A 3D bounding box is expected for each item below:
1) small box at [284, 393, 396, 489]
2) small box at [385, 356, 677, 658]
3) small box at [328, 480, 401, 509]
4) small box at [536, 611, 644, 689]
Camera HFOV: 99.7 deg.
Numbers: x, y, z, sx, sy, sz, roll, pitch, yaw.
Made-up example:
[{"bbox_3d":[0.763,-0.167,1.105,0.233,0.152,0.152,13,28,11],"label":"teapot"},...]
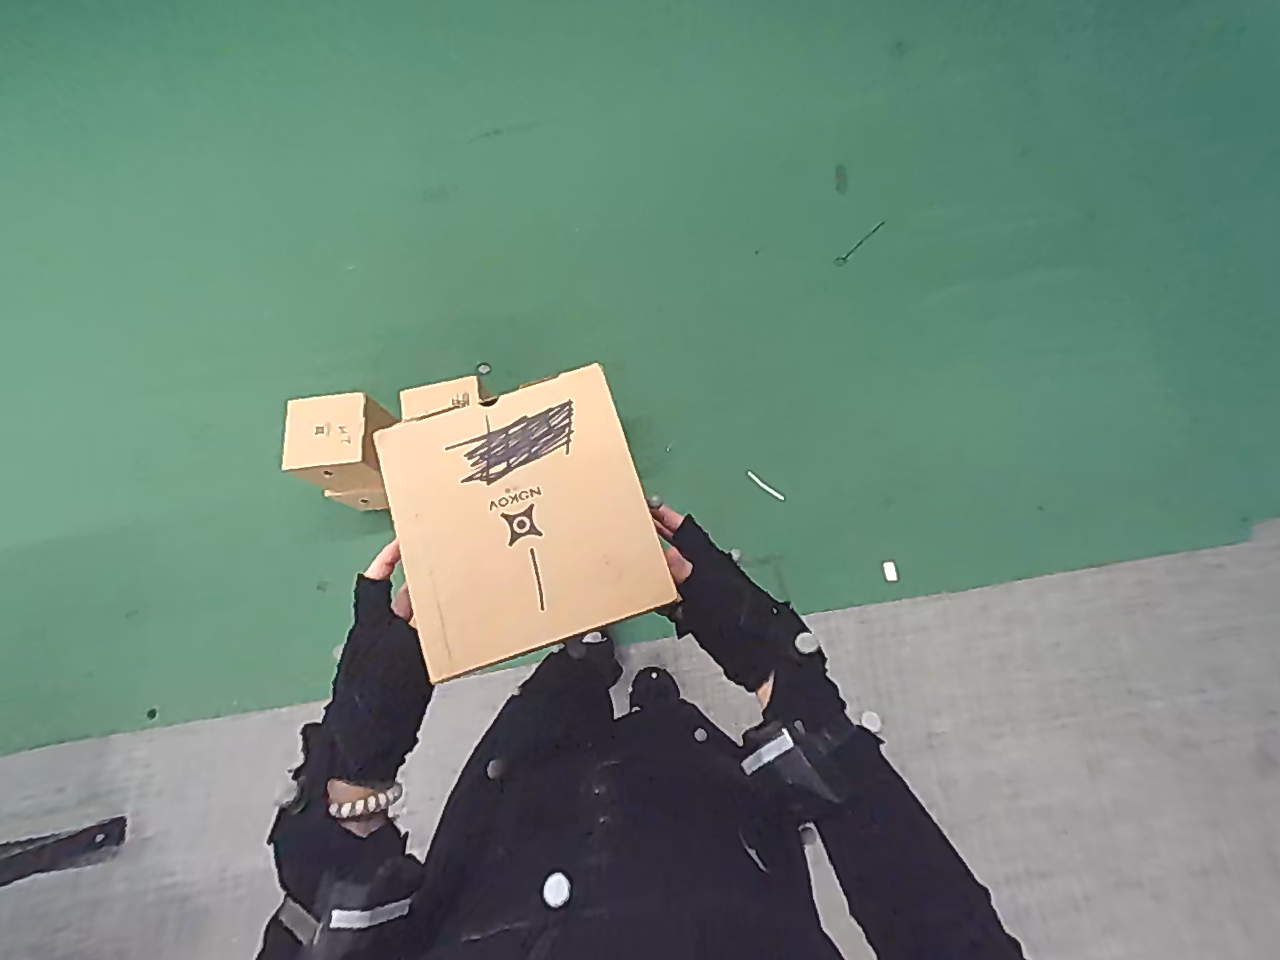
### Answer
[{"bbox_3d":[-0.677,-0.084,1.251,0.179,0.176,0.168,-5,73,1],"label":"small box"},{"bbox_3d":[-0.077,0.032,0.441,0.168,0.176,0.179,-17,76,-3],"label":"small box"},{"bbox_3d":[-0.678,-0.025,1.407,0.168,0.176,0.179,-5,73,1],"label":"small box"},{"bbox_3d":[-0.122,0.367,1.276,0.179,0.176,0.168,23,91,26],"label":"small box"}]
